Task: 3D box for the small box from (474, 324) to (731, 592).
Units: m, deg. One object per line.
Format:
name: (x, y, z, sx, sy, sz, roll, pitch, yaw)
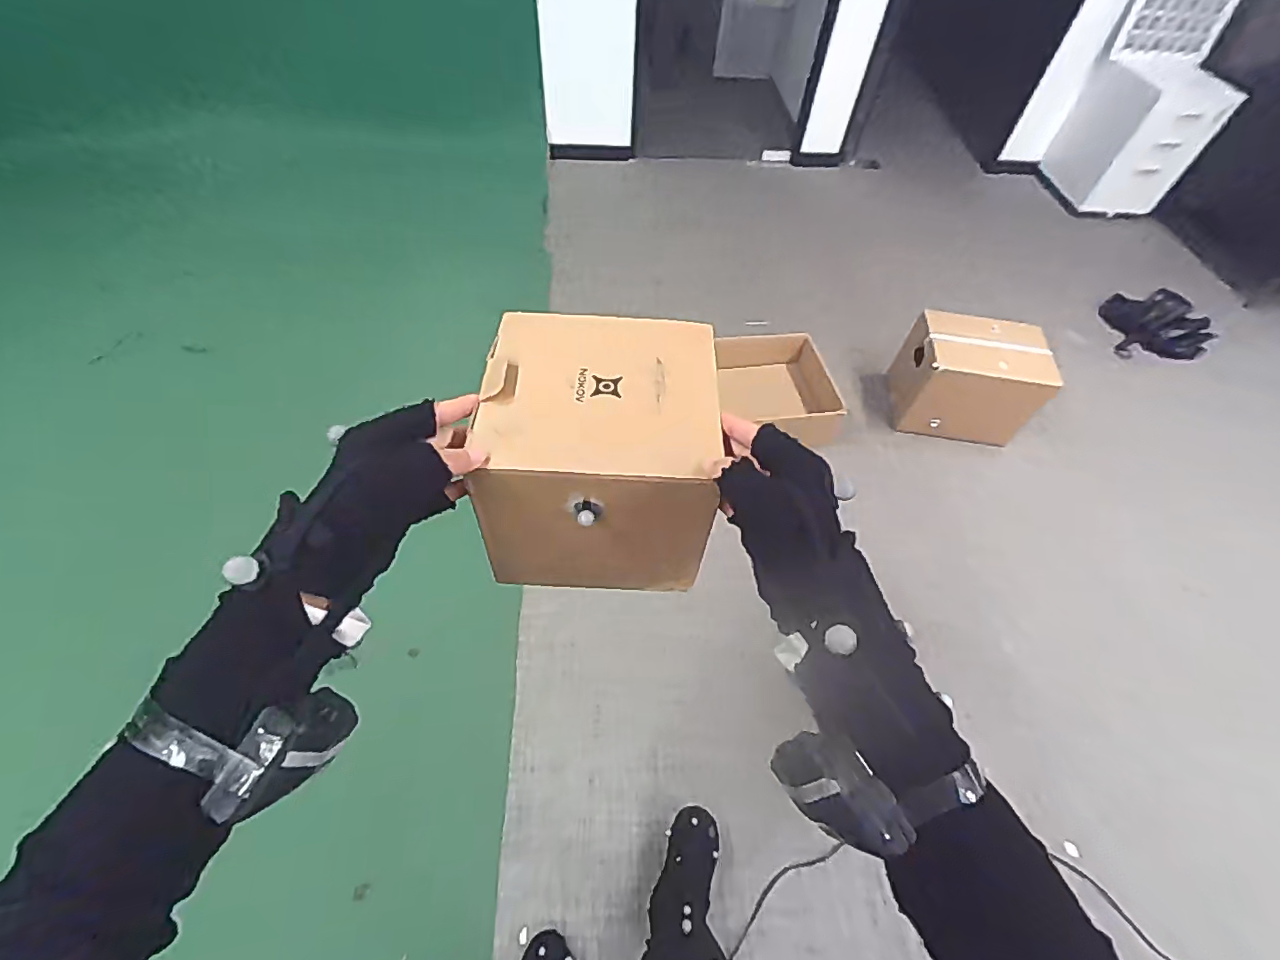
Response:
small box: (-0.027, -0.013, 0.471, 0.179, 0.176, 0.168, 3, 53, -3)
